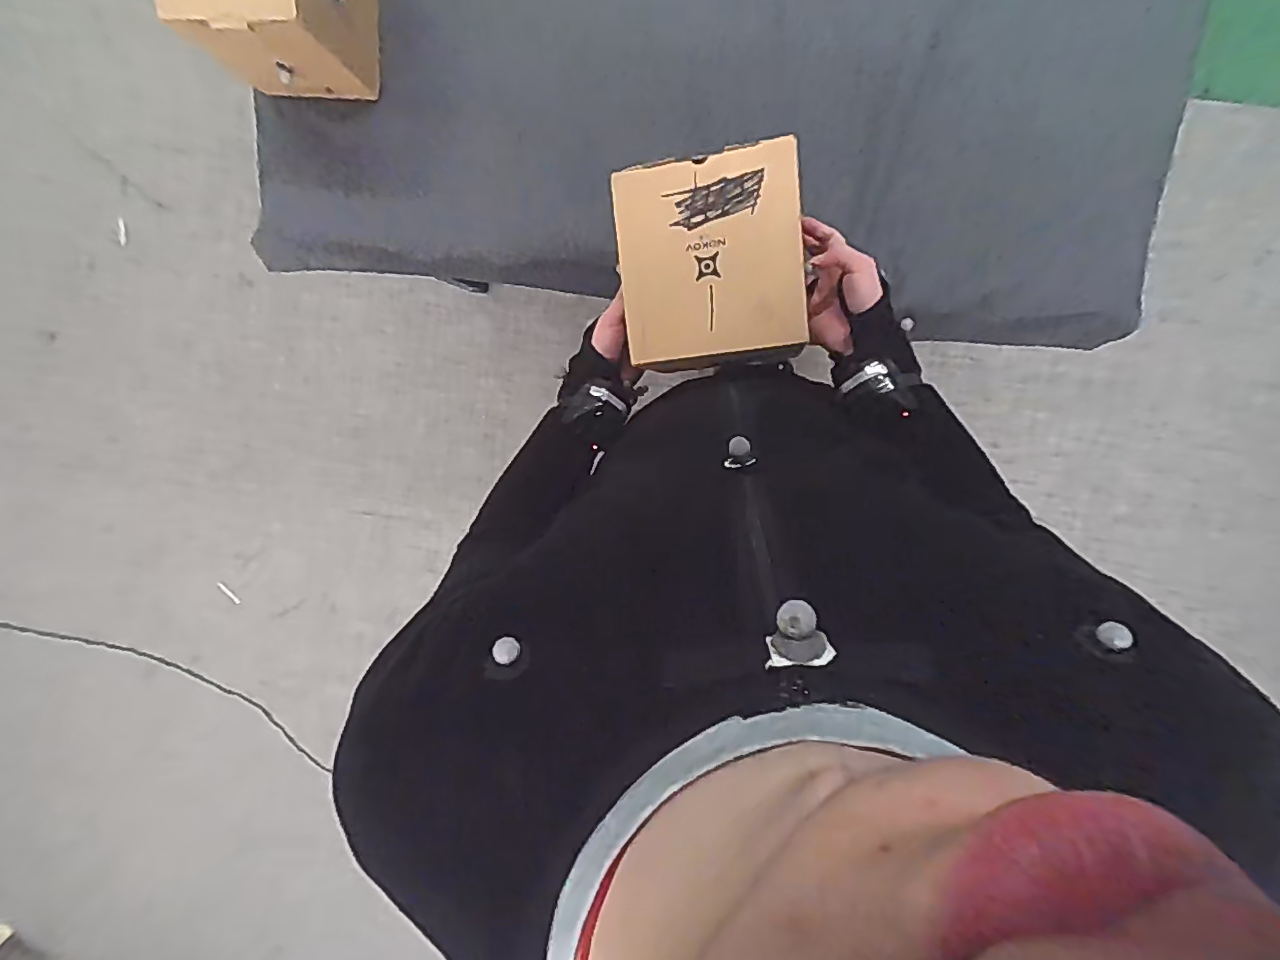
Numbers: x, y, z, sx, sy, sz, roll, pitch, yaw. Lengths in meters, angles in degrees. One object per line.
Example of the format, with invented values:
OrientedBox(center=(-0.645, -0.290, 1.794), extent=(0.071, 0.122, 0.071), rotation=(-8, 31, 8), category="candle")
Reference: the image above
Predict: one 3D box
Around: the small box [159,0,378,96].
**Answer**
OrientedBox(center=(-0.440, -0.601, 0.657), extent=(0.168, 0.176, 0.179), rotation=(4, 102, 2), category="small box")
